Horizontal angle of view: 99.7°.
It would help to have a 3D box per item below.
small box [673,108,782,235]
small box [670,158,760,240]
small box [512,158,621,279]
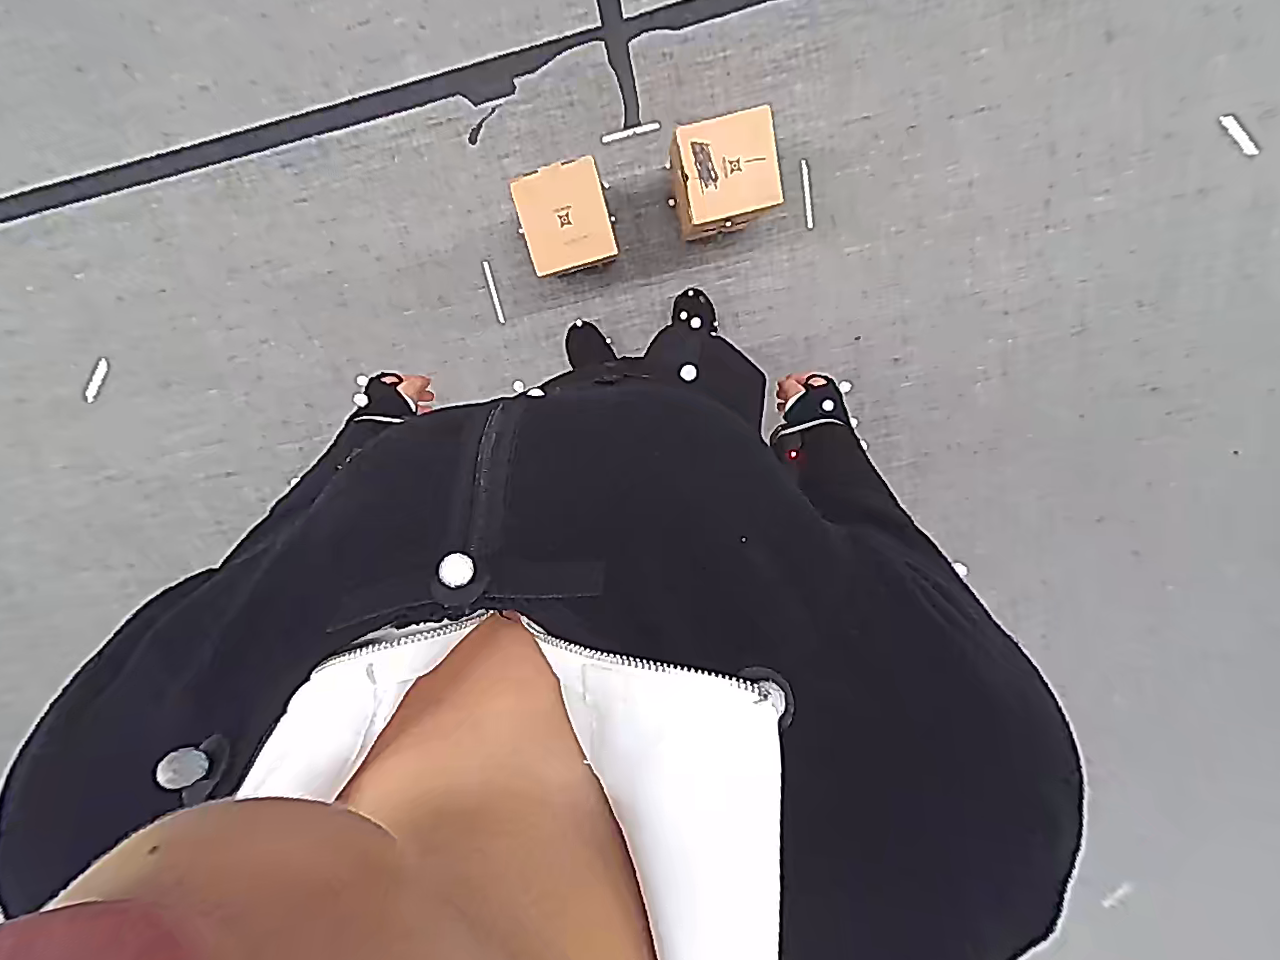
[{"bbox_3d":[0.164,-0.595,1.066,0.179,0.176,0.168,-13,109,2],"label":"small box"},{"bbox_3d":[0.166,-0.650,1.222,0.168,0.176,0.179,-11,110,1],"label":"small box"},{"bbox_3d":[-0.139,-0.515,1.090,0.168,0.176,0.179,-14,110,6],"label":"small box"}]
